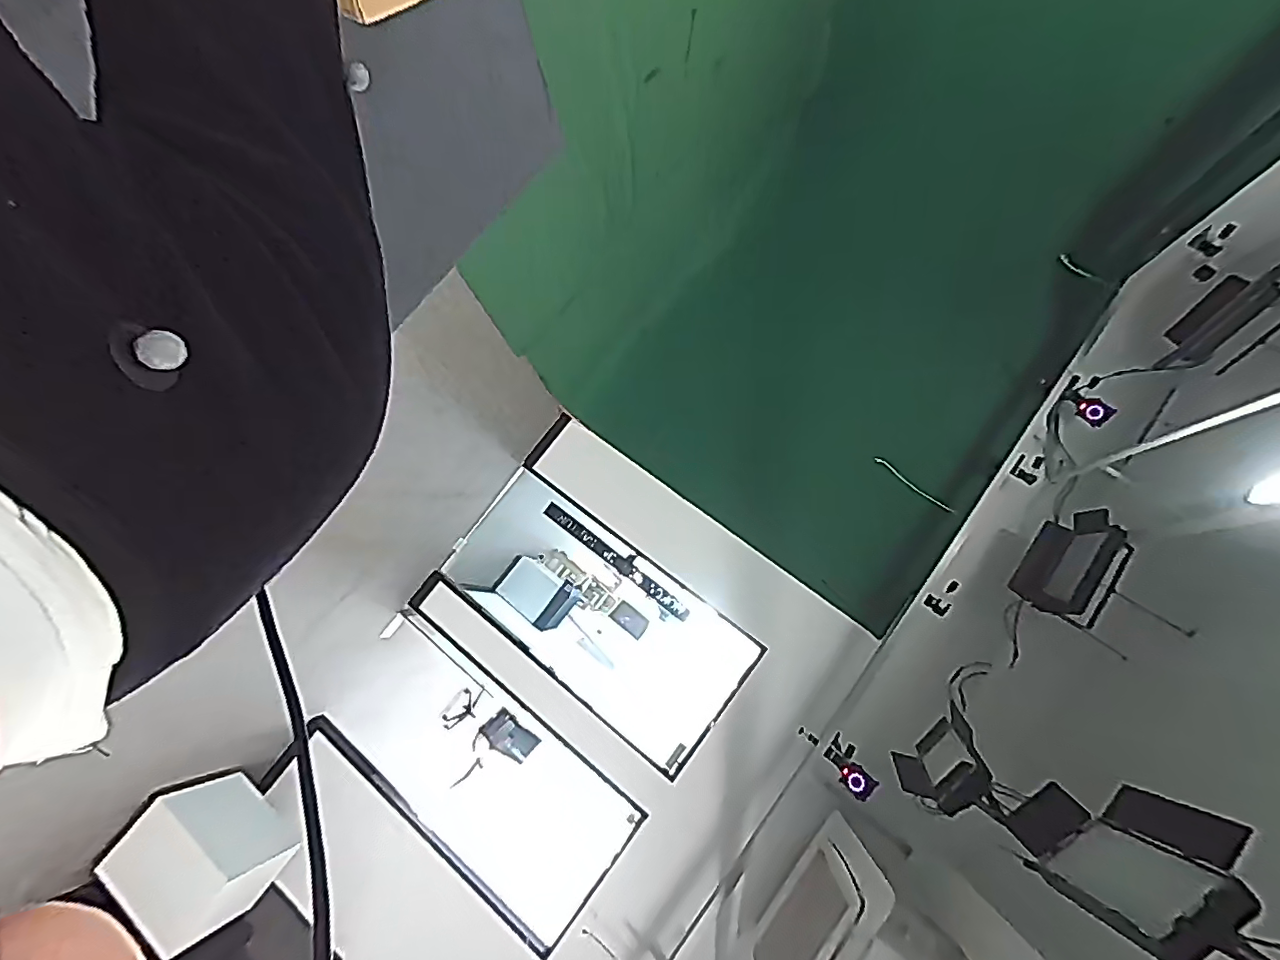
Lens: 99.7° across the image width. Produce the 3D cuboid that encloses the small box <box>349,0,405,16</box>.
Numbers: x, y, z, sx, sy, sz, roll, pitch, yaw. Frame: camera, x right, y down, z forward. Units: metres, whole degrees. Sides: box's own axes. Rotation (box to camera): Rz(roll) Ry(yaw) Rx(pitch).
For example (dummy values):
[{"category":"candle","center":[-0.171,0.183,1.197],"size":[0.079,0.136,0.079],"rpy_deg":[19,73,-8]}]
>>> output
[{"category":"small box","center":[-0.313,-0.655,0.578],"size":[0.179,0.176,0.168],"rpy_deg":[-49,168,-23]}]
